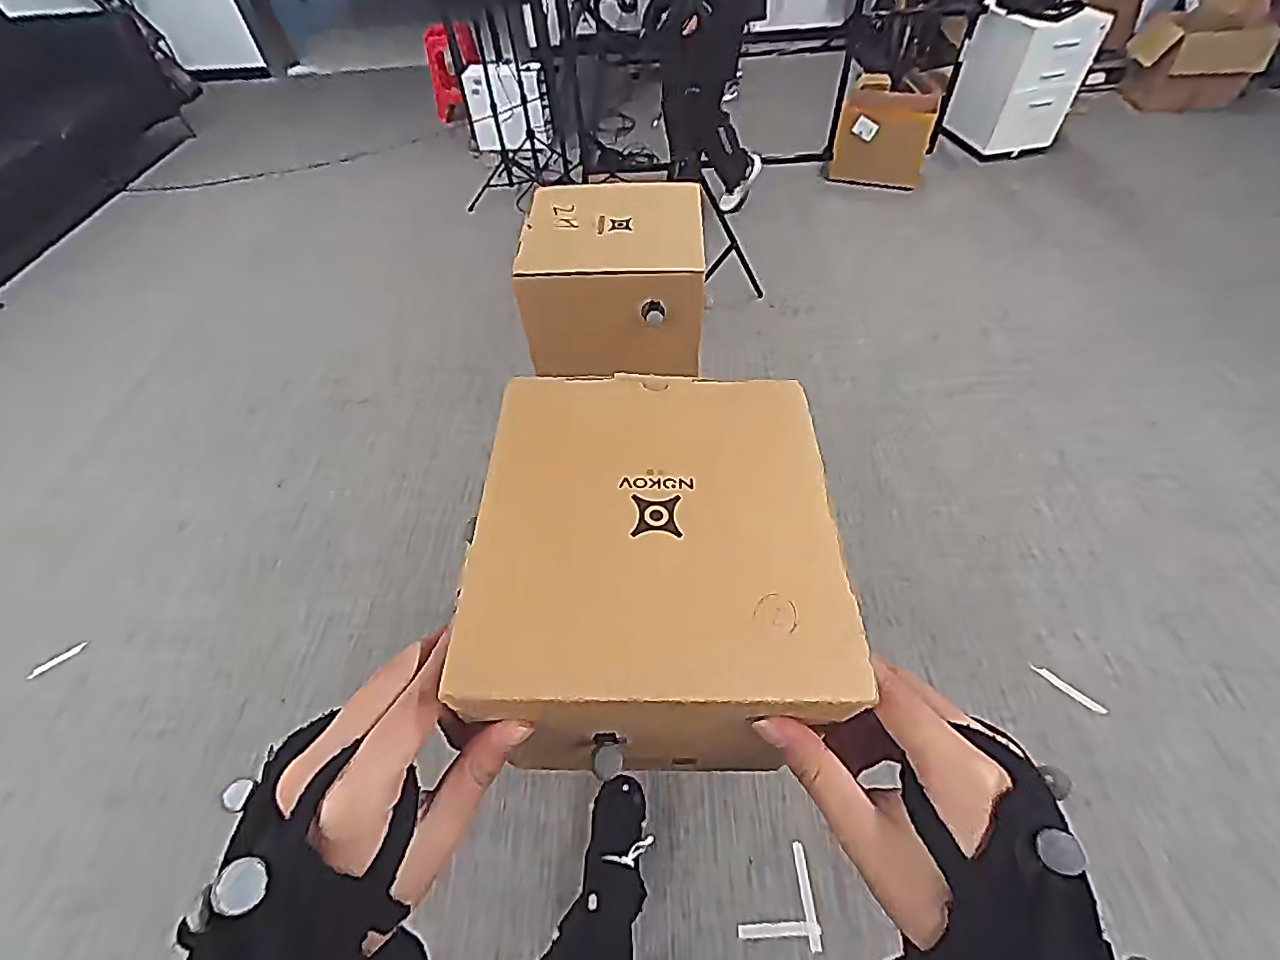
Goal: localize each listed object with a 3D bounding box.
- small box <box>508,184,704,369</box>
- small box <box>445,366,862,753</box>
[{"bbox_3d":[-0.026,-0.197,0.589,0.179,0.176,0.168,-1,52,3],"label":"small box"},{"bbox_3d":[0.006,0.054,0.320,0.168,0.176,0.179,0,52,-1],"label":"small box"}]
